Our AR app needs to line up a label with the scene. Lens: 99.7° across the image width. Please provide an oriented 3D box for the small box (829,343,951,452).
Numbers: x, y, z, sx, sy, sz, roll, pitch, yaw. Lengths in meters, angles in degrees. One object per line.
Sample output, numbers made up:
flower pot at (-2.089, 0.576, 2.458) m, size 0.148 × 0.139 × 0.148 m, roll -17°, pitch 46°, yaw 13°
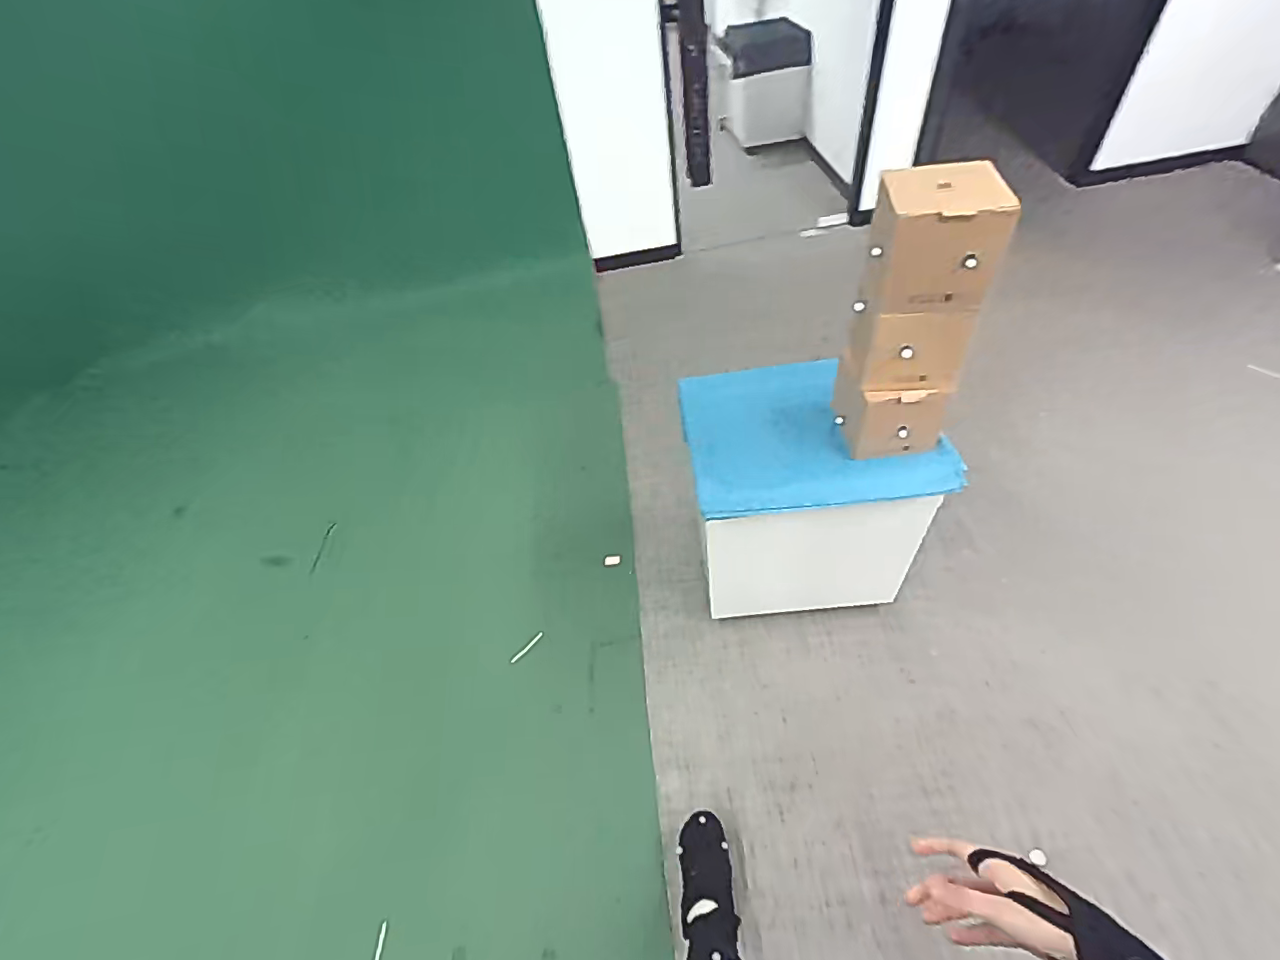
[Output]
small box at (0.503, -0.172, 1.117) m, size 0.168 × 0.176 × 0.179 m, roll -7°, pitch 49°, yaw 3°

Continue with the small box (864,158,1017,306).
small box at (0.473, -0.398, 0.883) m, size 0.168 × 0.176 × 0.179 m, roll 2°, pitch 49°, yaw 11°

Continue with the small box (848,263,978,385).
small box at (0.492, -0.290, 1.004) m, size 0.168 × 0.176 × 0.179 m, roll -1°, pitch 48°, yaw 10°
